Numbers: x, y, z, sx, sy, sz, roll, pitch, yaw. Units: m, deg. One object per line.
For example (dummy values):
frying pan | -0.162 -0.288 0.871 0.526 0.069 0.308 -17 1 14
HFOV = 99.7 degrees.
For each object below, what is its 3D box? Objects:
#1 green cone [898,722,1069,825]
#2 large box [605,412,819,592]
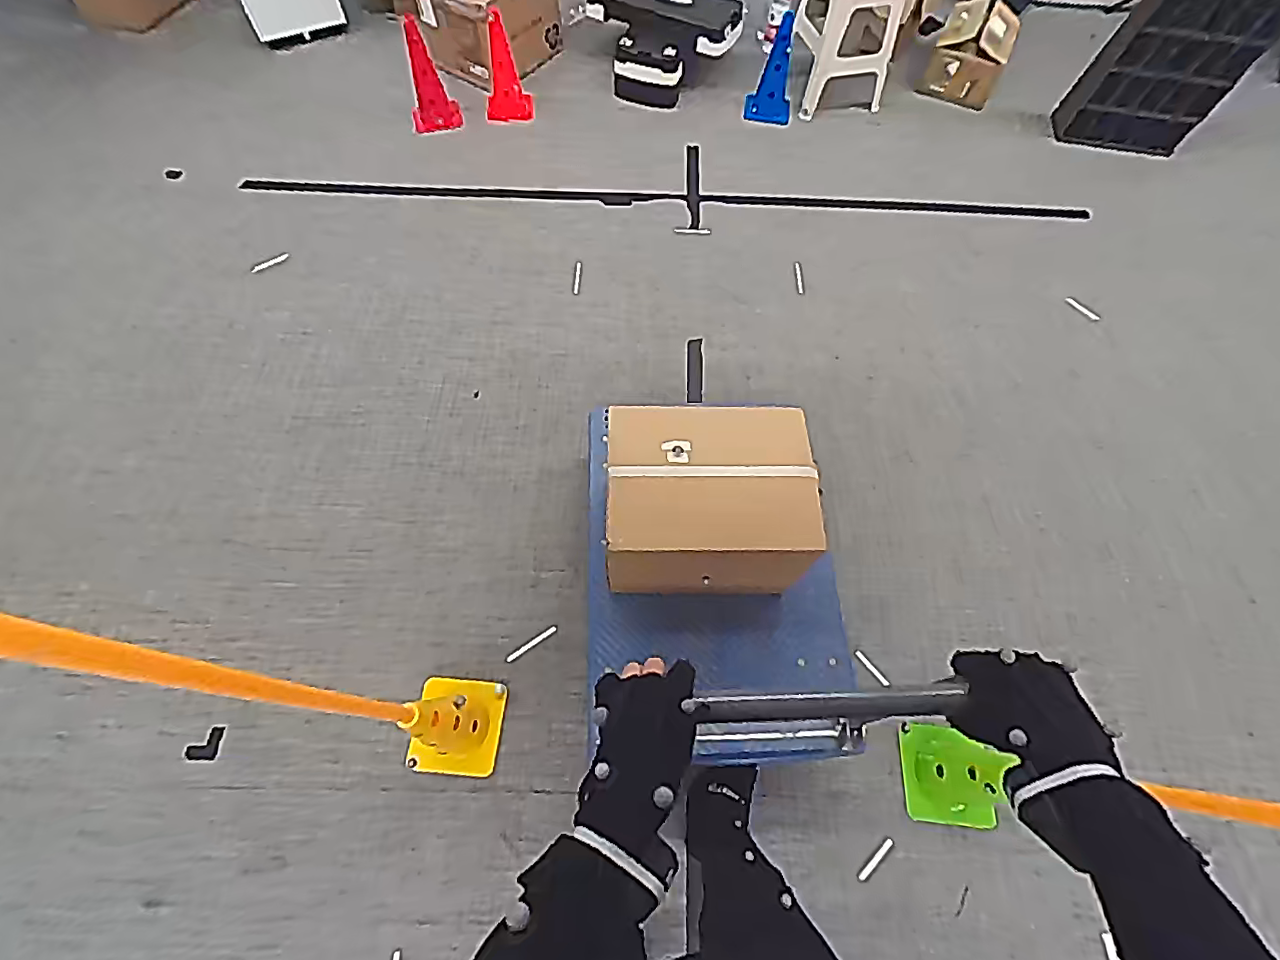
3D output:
green cone | 0.714 0.599 1.099 0.202 0.368 0.200 6 63 0
large box | 0.131 0.062 1.195 0.408 0.320 0.320 0 64 -1
